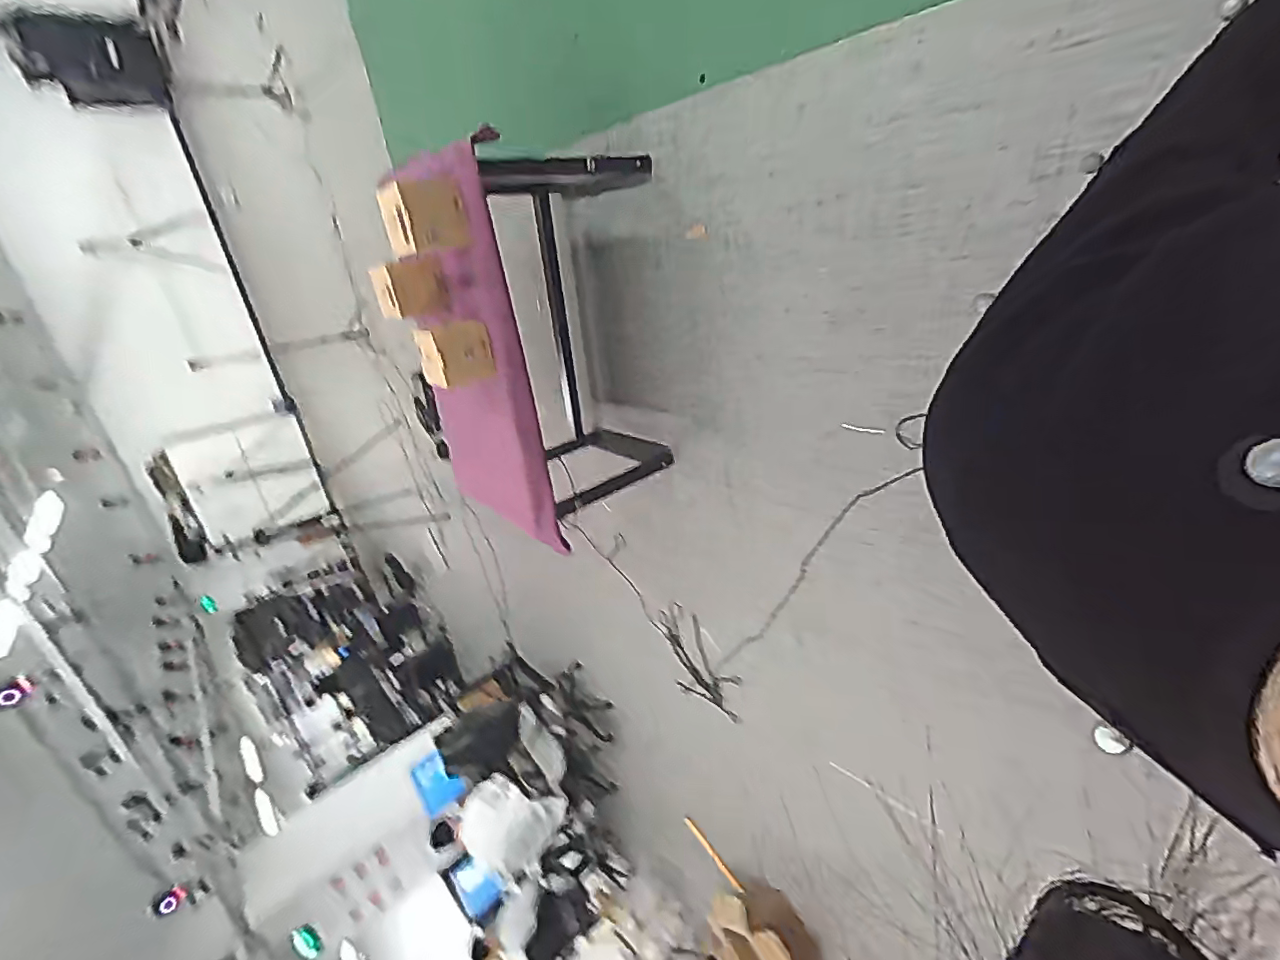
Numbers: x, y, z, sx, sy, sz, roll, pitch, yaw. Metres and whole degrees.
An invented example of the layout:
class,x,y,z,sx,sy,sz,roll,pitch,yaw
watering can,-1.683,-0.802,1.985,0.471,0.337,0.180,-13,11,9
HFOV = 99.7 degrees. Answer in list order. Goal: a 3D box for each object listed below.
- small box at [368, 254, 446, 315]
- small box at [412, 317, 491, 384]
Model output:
class,x,y,z,sx,sy,sz,roll,pitch,yaw
small box,-0.758,-0.641,1.776,0.179,0.176,0.168,19,125,46
small box,-0.581,-0.411,1.693,0.179,0.176,0.168,21,126,44
